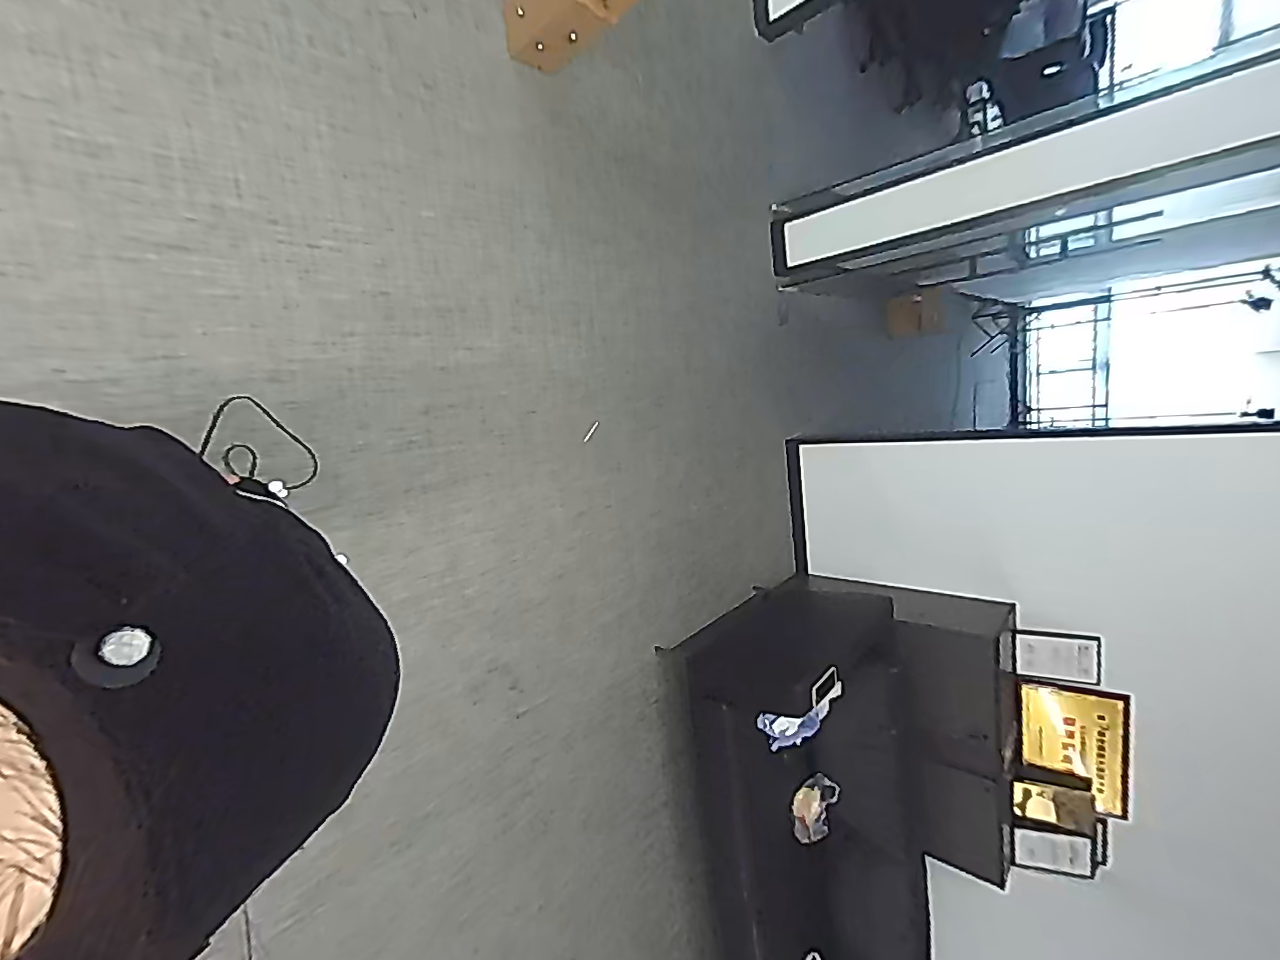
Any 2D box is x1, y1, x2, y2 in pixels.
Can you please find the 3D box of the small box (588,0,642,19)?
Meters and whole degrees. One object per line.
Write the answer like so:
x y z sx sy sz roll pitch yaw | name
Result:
-0.073 -1.466 1.517 0.168 0.176 0.179 -7 97 -46 | small box

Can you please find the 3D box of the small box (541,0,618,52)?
-0.189 -1.457 1.631 0.168 0.176 0.179 -11 99 -45 | small box
